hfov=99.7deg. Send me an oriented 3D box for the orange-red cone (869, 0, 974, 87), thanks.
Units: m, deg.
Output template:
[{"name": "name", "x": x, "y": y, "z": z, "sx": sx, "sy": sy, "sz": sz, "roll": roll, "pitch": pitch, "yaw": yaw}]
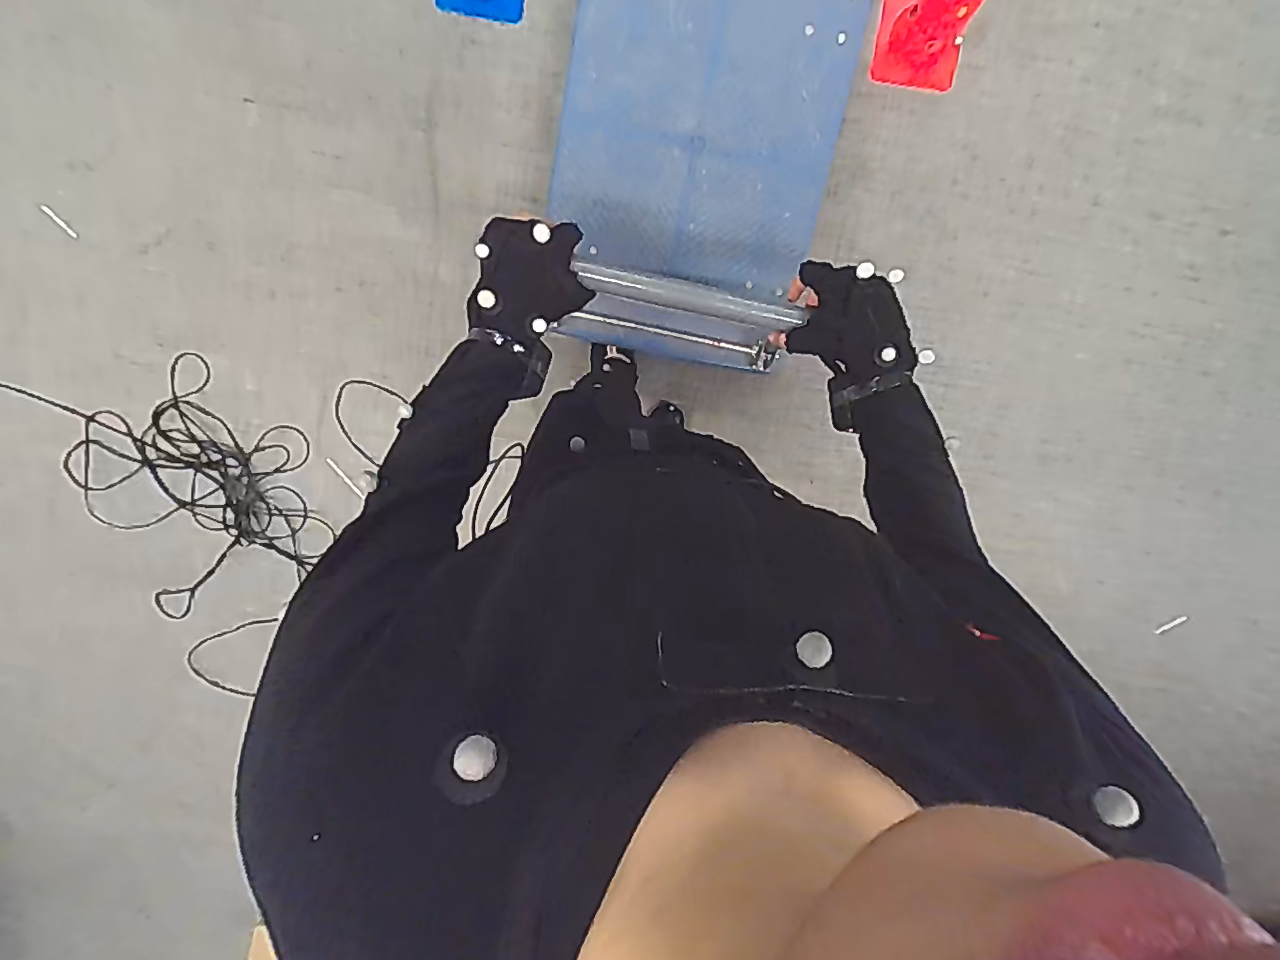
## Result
[{"name": "orange-red cone", "x": 0.642, "y": -0.996, "z": 1.088, "sx": 0.199, "sy": 0.360, "sz": 0.198, "roll": 8, "pitch": 102, "yaw": -1}]
